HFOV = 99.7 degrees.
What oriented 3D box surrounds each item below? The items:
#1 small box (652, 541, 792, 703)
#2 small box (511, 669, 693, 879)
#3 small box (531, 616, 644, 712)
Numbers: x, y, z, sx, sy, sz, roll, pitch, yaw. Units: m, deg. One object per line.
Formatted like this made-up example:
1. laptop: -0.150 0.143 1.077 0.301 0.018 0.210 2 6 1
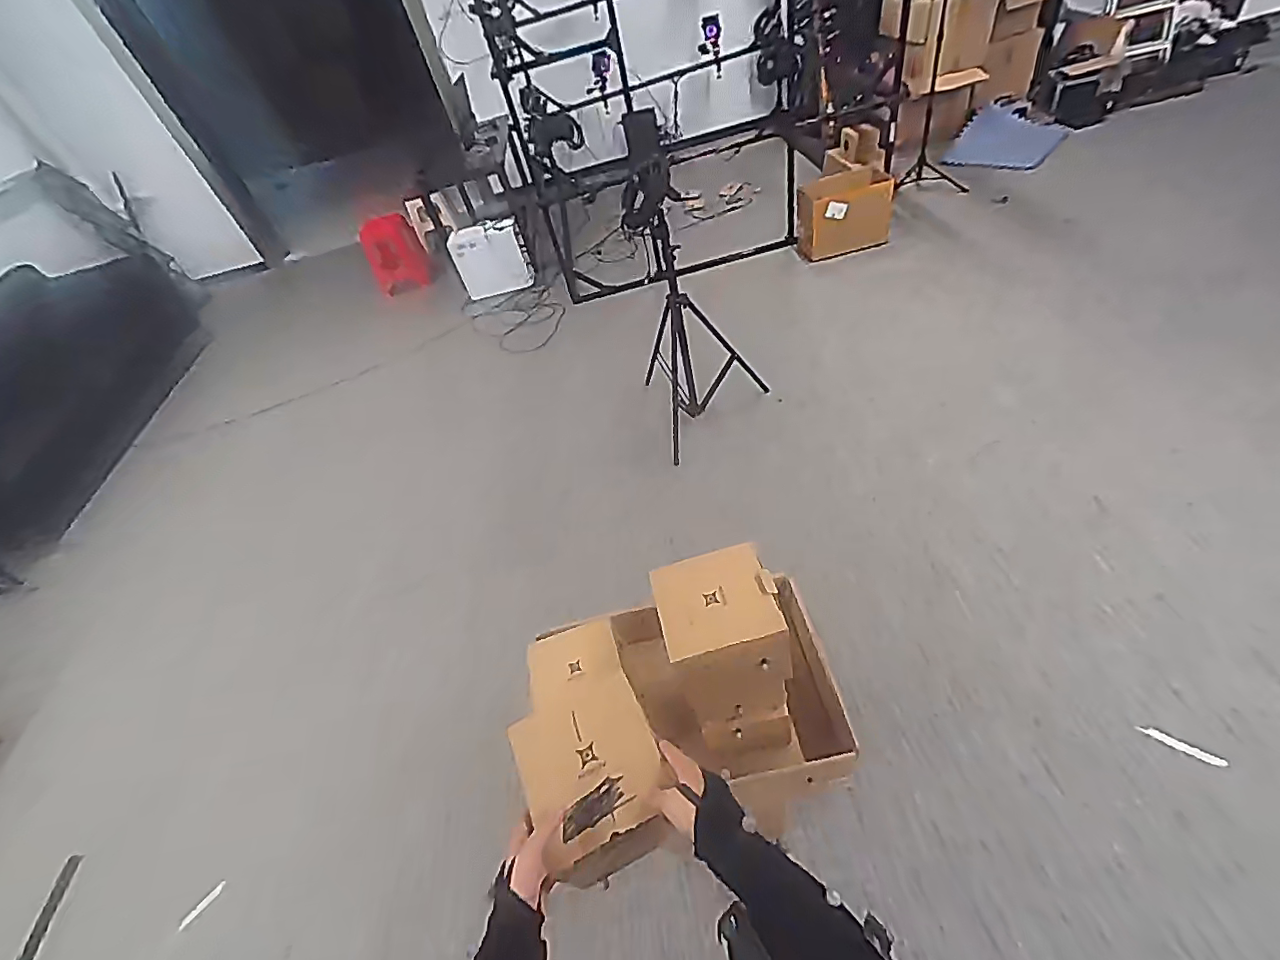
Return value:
1. small box: 0.132 0.230 0.866 0.179 0.176 0.168 -16 44 2
2. small box: -0.043 0.385 0.702 0.168 0.176 0.179 -24 49 -9
3. small box: -0.092 0.392 1.014 0.168 0.176 0.179 -20 46 -1
